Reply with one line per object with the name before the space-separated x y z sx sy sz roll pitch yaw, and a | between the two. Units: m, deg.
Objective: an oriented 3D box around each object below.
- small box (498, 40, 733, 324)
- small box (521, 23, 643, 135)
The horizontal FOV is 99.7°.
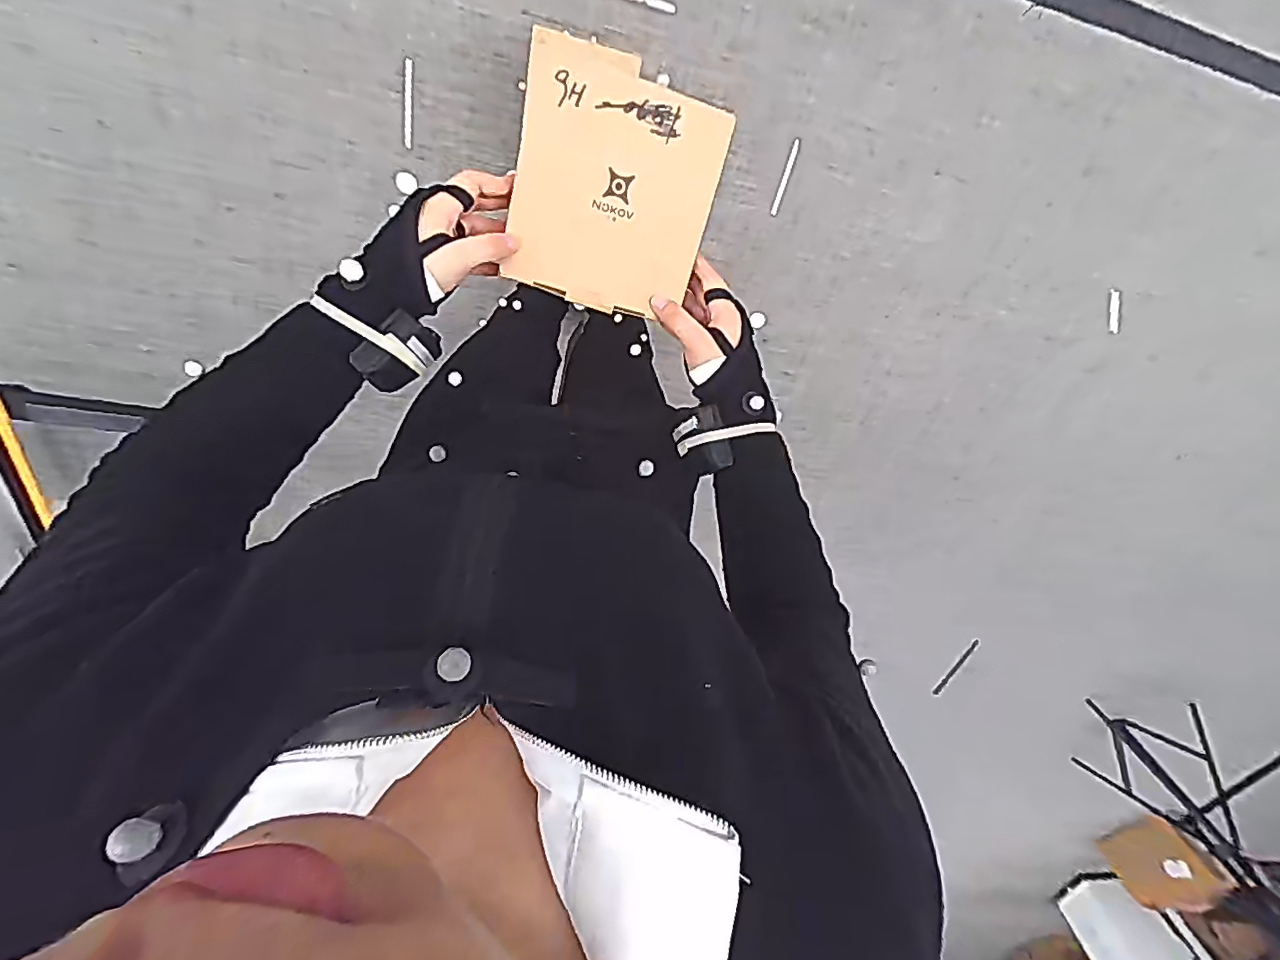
small box | -0.033 -0.271 0.527 0.168 0.176 0.179 12 112 -14
small box | -0.101 -0.617 0.902 0.168 0.176 0.179 9 123 -11
